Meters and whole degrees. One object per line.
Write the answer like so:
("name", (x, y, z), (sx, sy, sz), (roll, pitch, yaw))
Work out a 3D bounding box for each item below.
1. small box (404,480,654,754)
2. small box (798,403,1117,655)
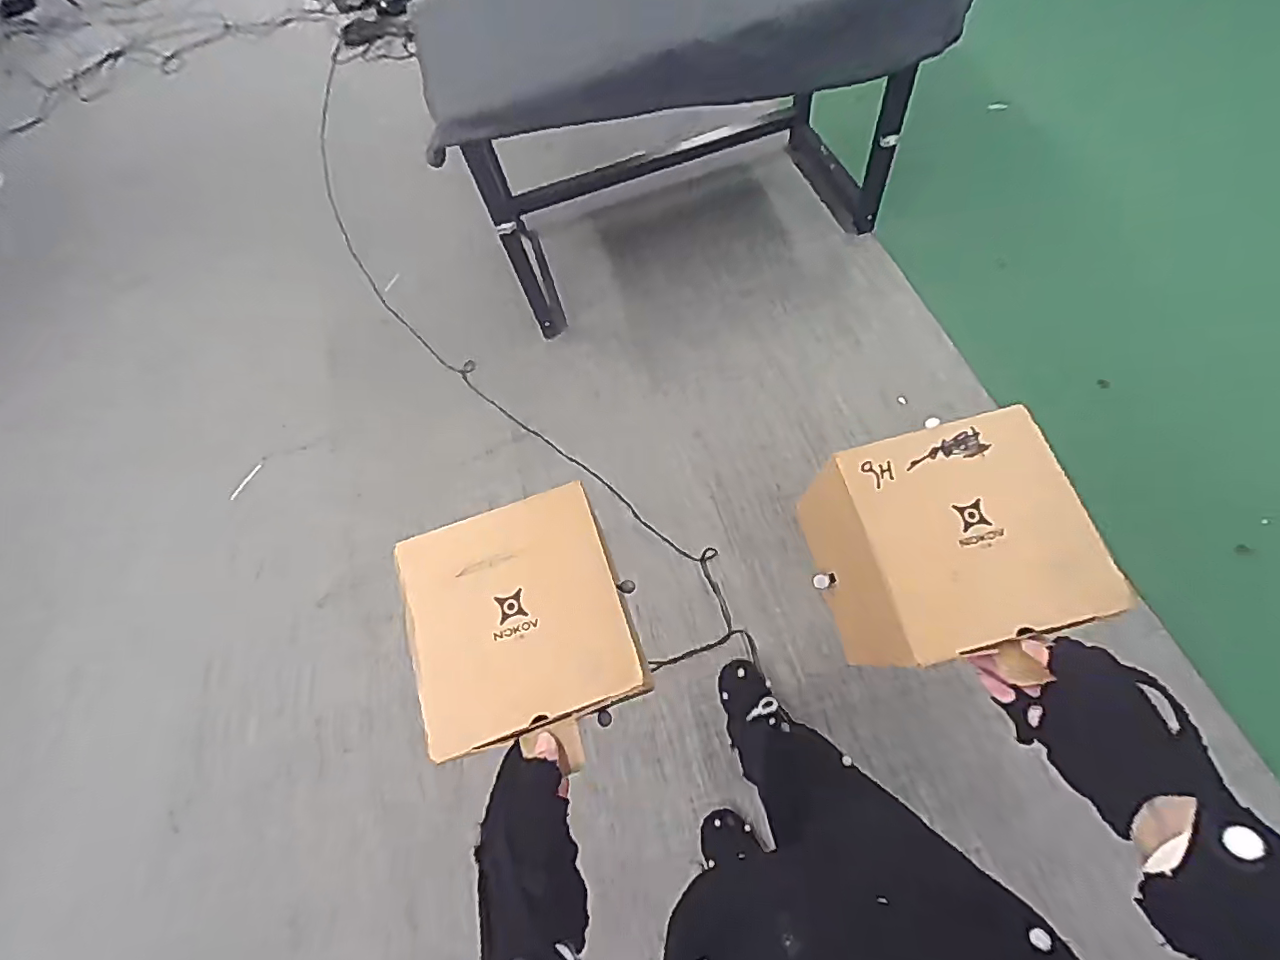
("small box", (-0.090, 0.129, 0.504), (0.168, 0.176, 0.179), (-20, 68, -5))
("small box", (0.267, 0.056, 0.506), (0.168, 0.176, 0.179), (-14, 72, -2))
